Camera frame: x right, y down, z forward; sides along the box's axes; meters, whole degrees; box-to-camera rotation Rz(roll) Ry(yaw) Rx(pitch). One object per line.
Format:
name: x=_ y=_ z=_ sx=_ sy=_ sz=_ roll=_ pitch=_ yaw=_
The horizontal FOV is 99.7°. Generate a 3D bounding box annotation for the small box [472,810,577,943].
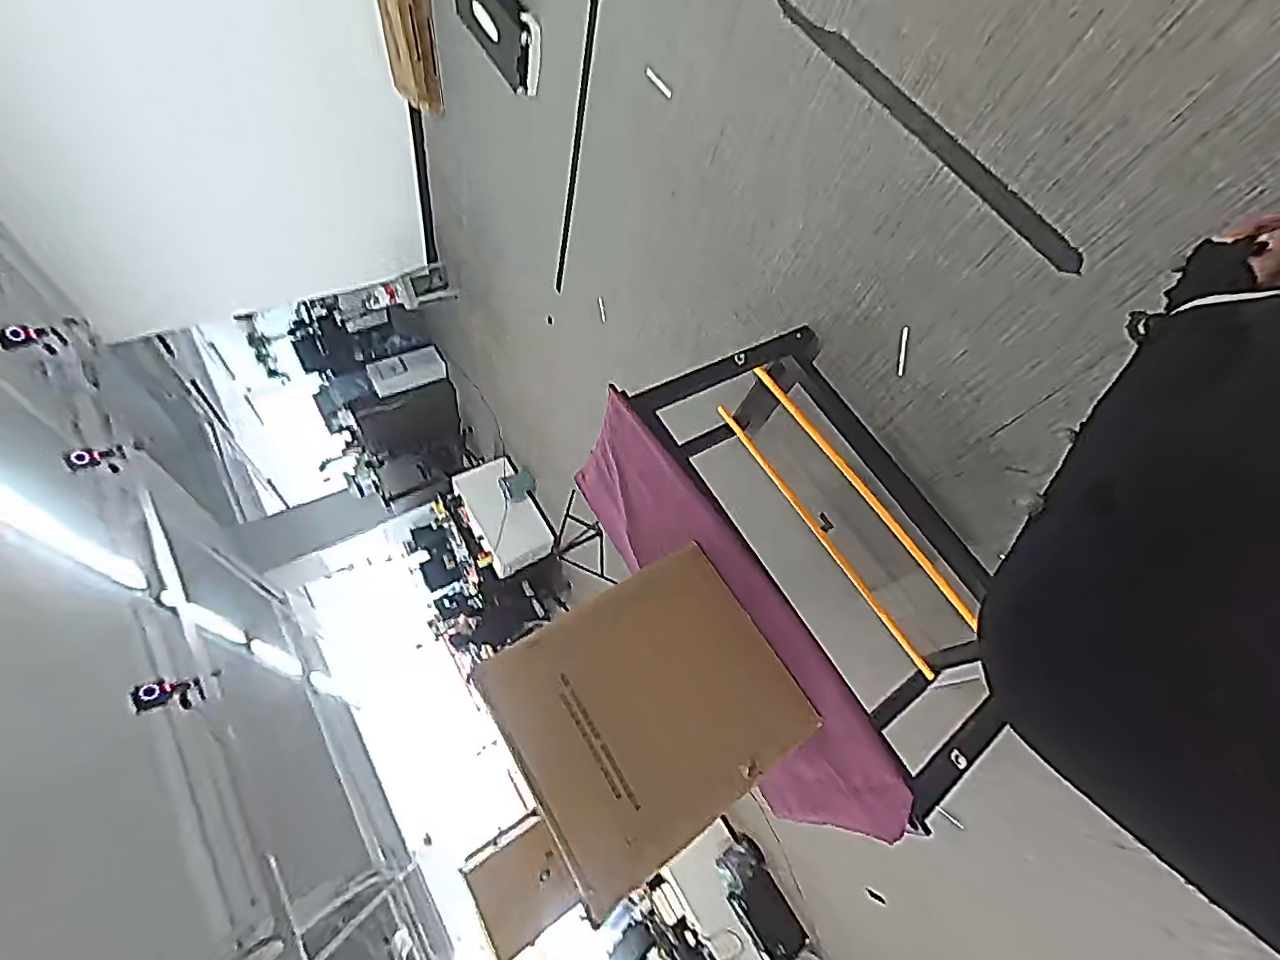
small box: x=-0.261 y=0.874 z=1.217 sx=0.179 sy=0.176 sz=0.168 roll=56 pitch=154 yaw=19
